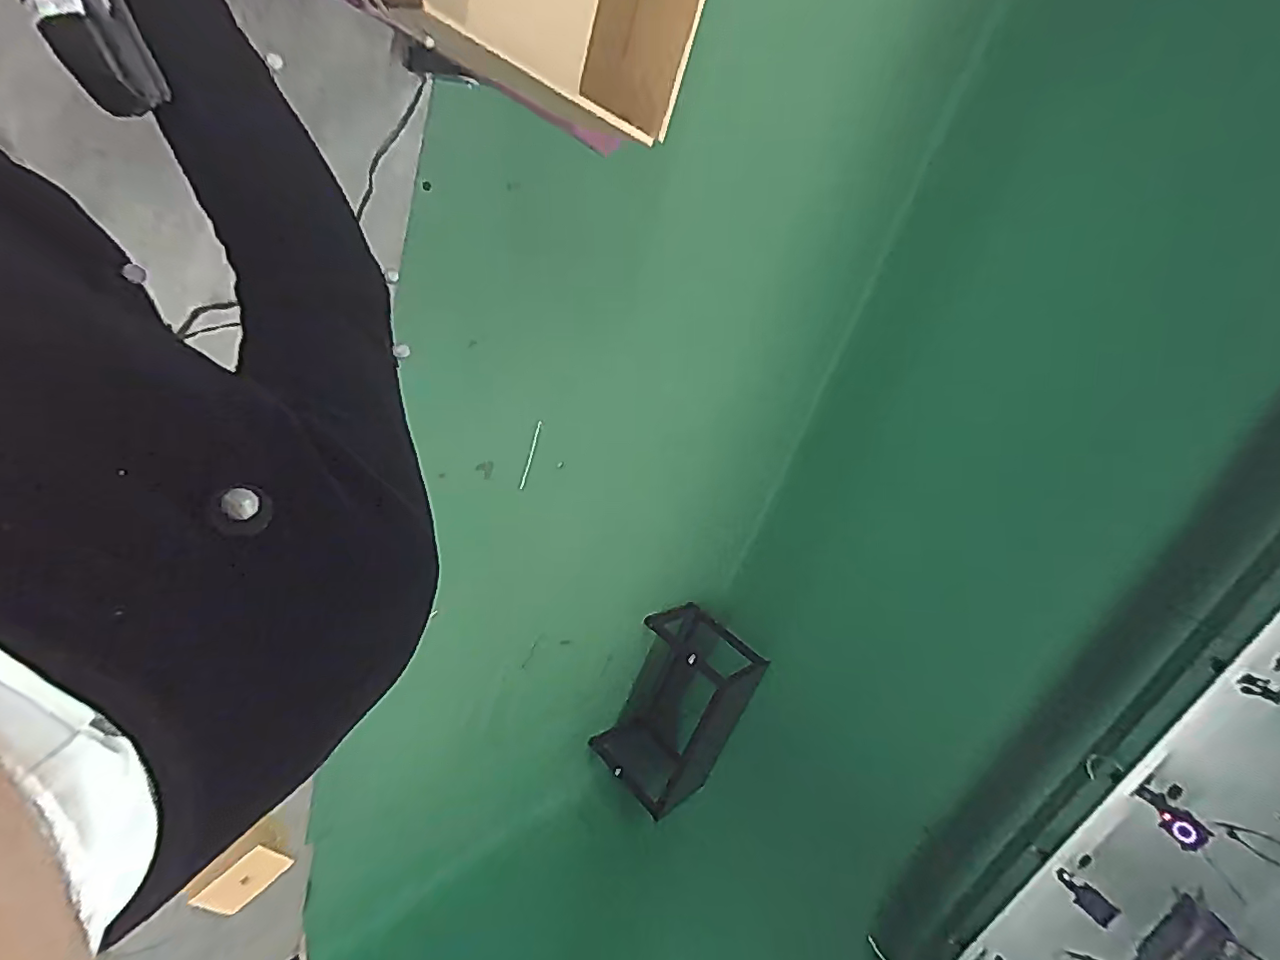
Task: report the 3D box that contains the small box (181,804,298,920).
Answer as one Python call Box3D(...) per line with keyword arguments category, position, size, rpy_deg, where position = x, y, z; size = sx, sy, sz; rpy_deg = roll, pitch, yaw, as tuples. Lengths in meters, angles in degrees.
Box3D(category="small box", position=(-1.042, 0.990, 1.411), size=(0.168, 0.176, 0.179), rpy_deg=(-37, 140, -28))
